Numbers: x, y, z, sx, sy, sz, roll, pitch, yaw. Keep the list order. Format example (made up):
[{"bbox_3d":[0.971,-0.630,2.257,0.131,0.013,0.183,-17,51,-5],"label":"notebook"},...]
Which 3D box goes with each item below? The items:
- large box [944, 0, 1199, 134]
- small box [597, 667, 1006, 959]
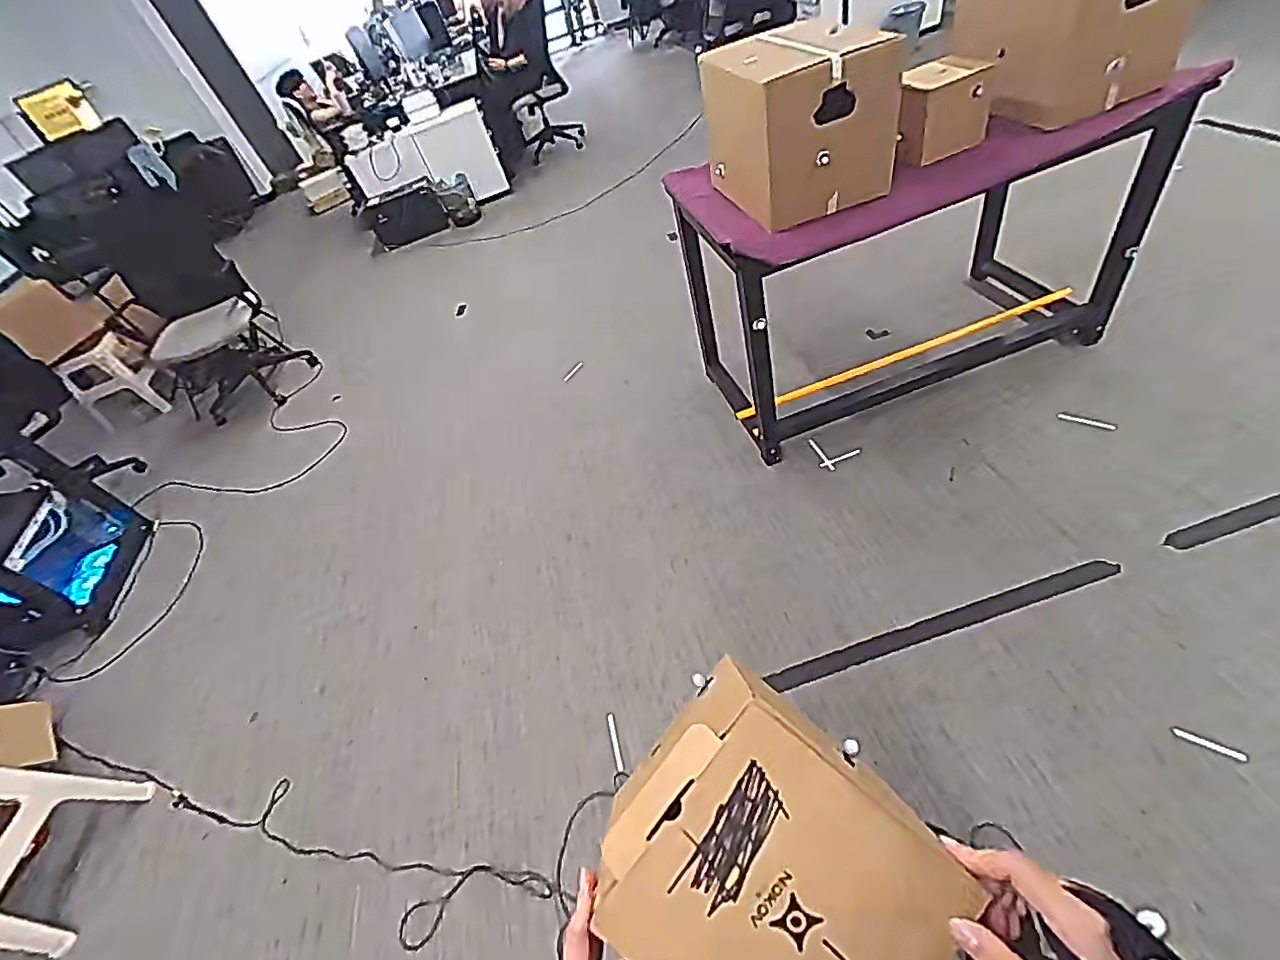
[{"bbox_3d":[1.027,-1.099,1.321,0.320,0.320,0.408,-21,44,0],"label":"large box"},{"bbox_3d":[0.094,0.256,0.387,0.179,0.176,0.168,38,85,8],"label":"small box"}]
